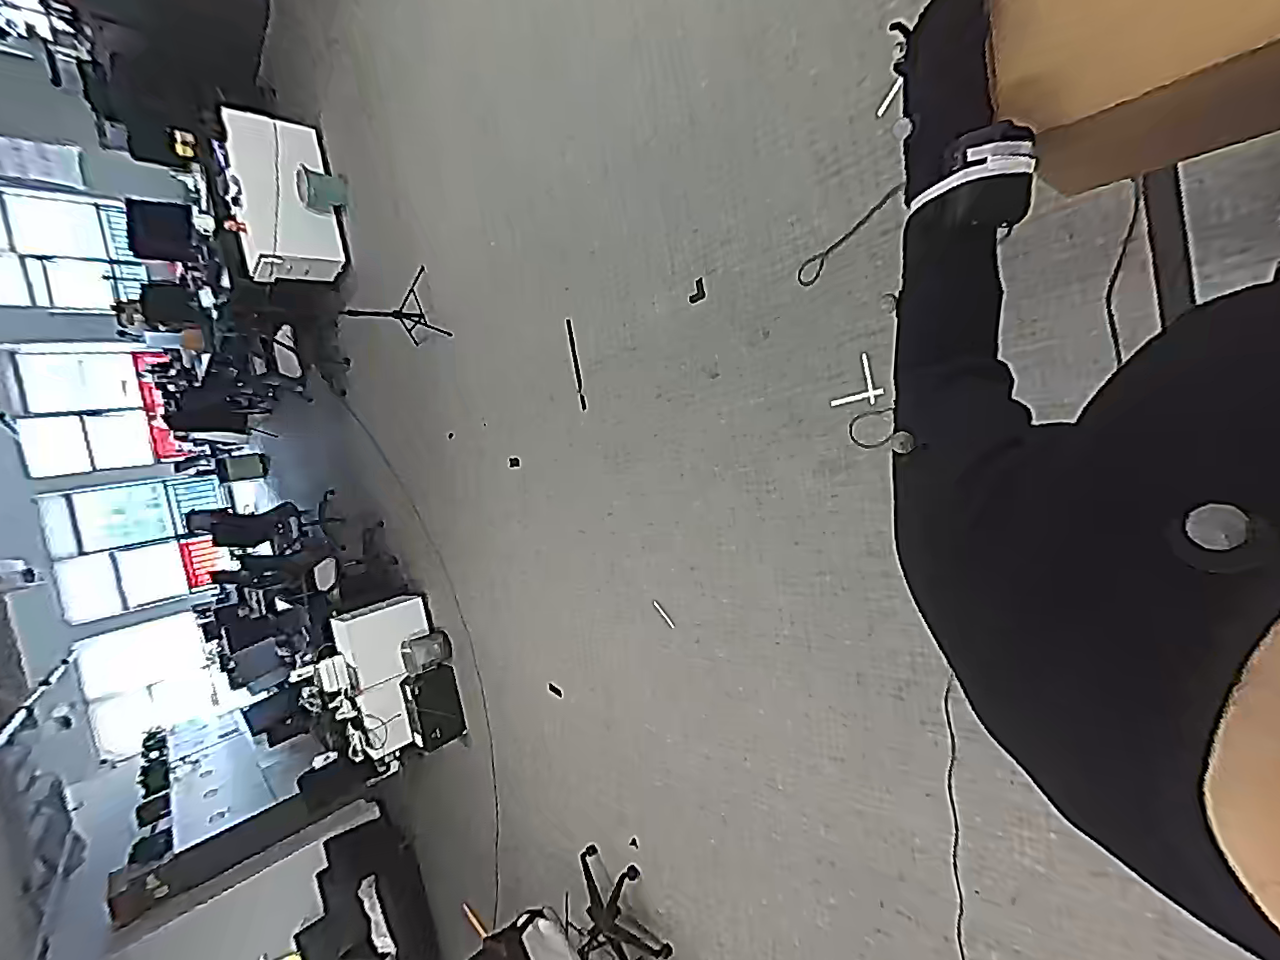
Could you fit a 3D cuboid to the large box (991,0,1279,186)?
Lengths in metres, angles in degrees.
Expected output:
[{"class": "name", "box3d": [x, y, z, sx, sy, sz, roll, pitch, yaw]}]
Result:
[{"class": "large box", "box3d": [0.500, -0.462, 0.370, 0.408, 0.320, 0.320, -3, 102, 46]}]
